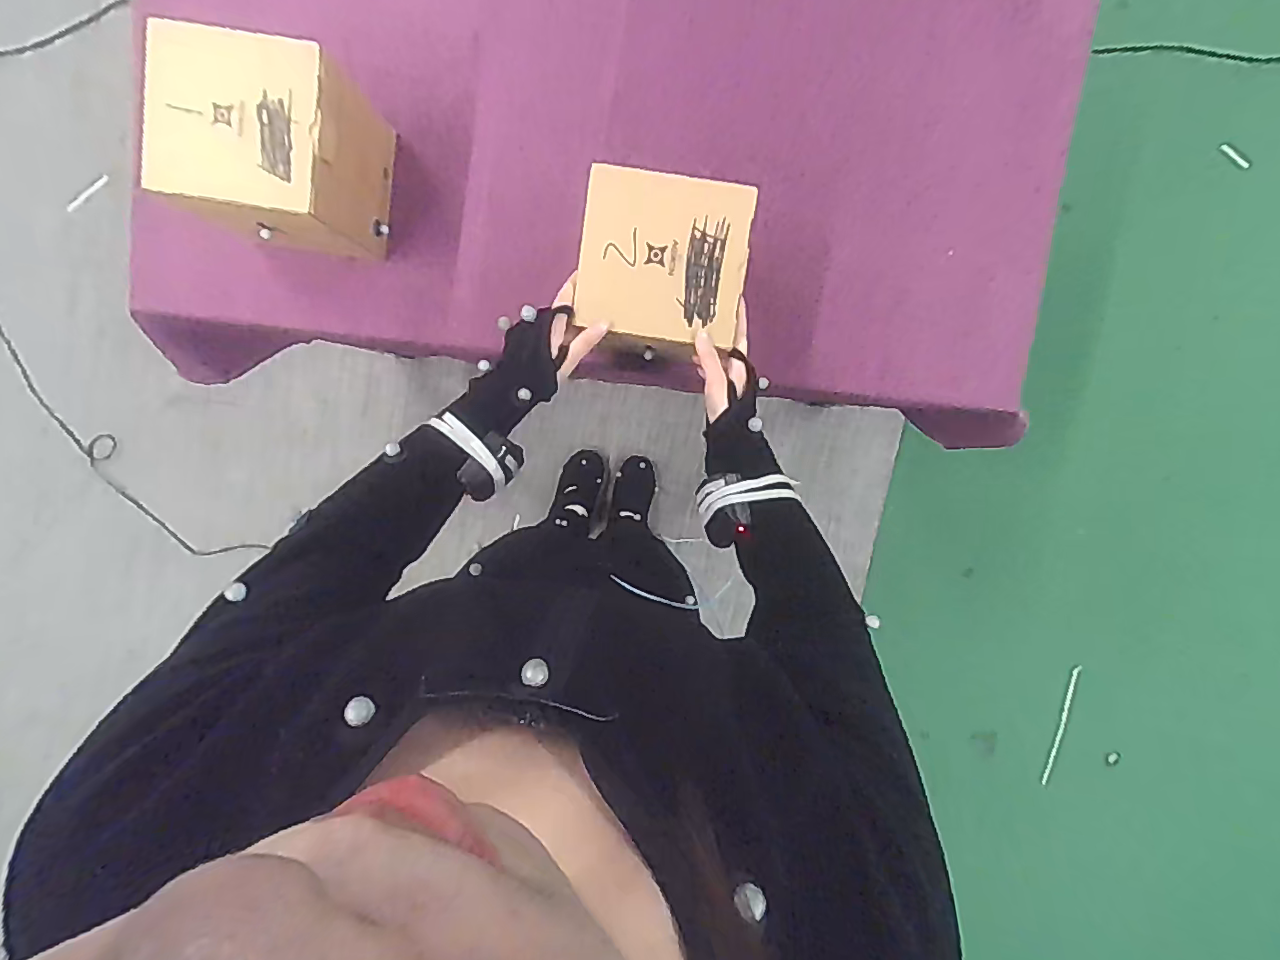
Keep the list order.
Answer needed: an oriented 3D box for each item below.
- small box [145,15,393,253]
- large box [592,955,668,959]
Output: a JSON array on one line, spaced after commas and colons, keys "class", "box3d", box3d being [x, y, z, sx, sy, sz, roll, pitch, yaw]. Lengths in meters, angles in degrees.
[{"class": "small box", "box3d": [-0.408, -0.376, 0.624, 0.179, 0.176, 0.168, 8, 96, -1]}, {"class": "large box", "box3d": [-0.019, 1.687, 1.549, 0.320, 0.320, 0.408, 9, 98, -1]}]
